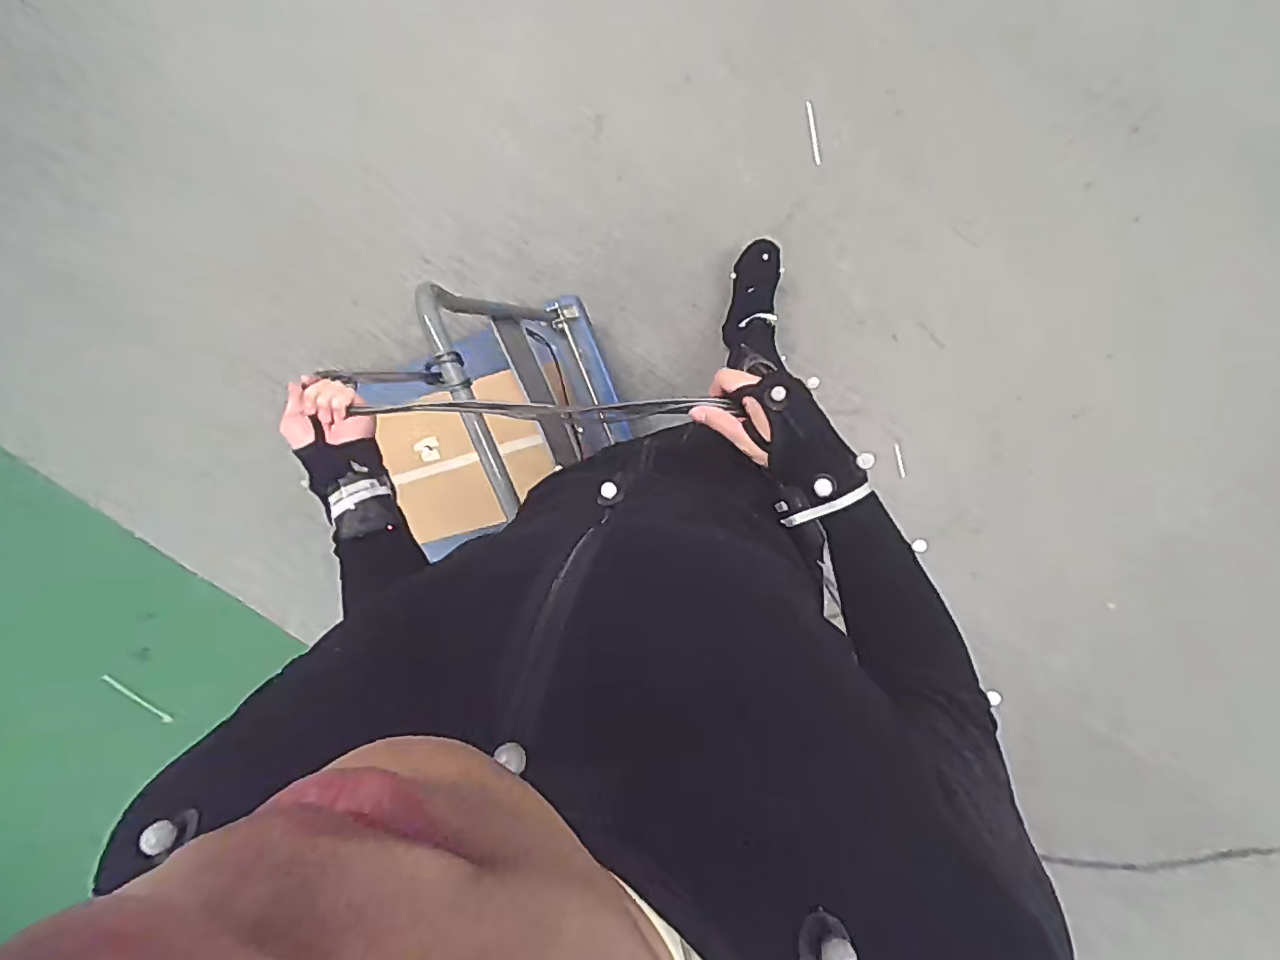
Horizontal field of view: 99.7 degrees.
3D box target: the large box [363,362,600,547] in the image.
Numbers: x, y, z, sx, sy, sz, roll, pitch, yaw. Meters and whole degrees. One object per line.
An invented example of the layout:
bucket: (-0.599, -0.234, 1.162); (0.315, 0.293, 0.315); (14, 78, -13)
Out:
large box: (-0.356, -0.076, 1.311); (0.408, 0.320, 0.320); (-15, 101, 12)
